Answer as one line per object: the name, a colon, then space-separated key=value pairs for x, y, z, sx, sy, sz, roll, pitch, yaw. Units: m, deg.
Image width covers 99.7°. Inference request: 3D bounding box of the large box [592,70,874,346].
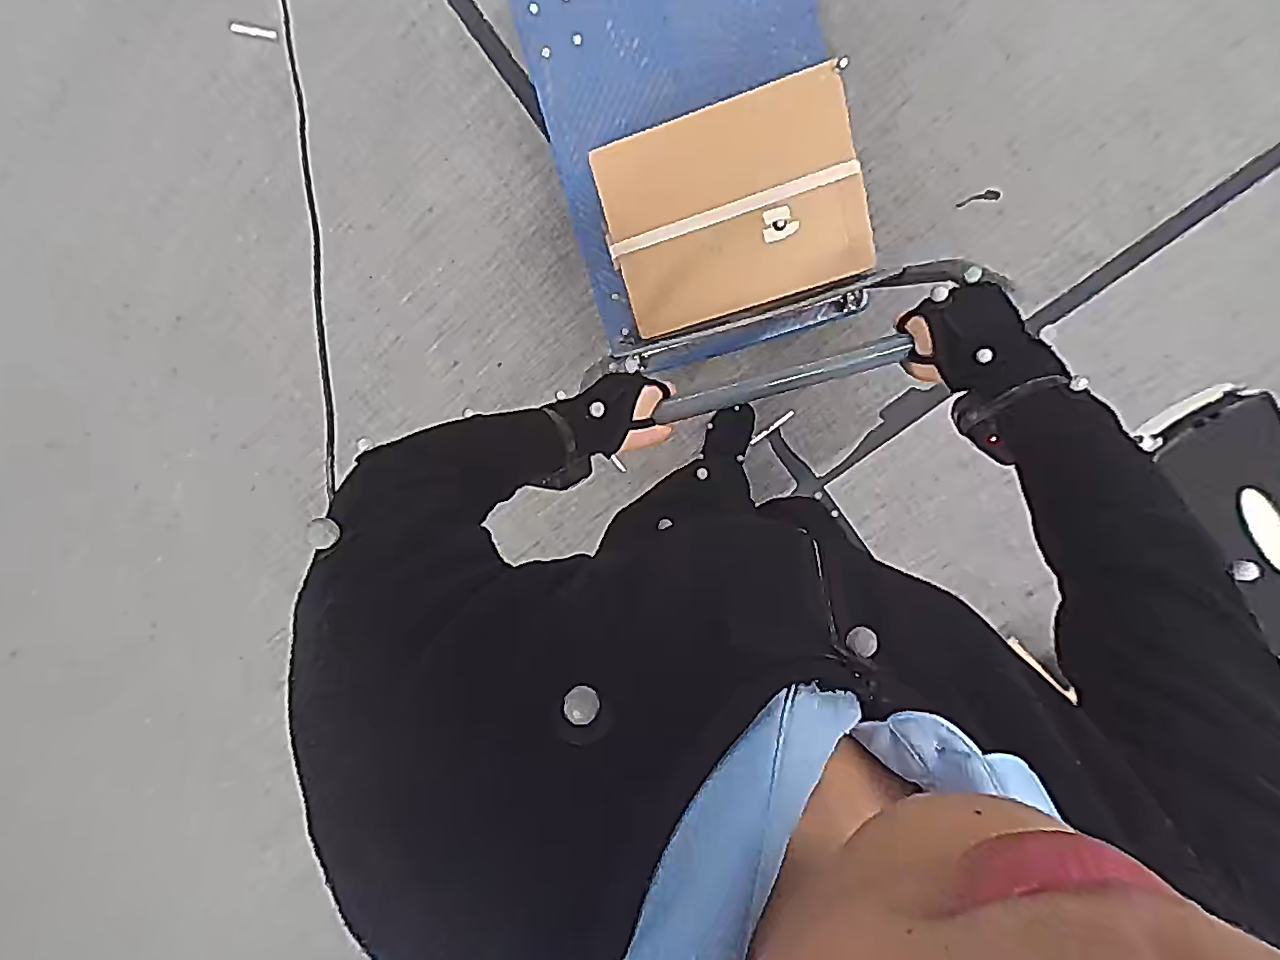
large box: x=0.164 y=-0.463 z=1.025 sx=0.408 sy=0.320 sz=0.320 roll=-15 pitch=102 yaw=9
